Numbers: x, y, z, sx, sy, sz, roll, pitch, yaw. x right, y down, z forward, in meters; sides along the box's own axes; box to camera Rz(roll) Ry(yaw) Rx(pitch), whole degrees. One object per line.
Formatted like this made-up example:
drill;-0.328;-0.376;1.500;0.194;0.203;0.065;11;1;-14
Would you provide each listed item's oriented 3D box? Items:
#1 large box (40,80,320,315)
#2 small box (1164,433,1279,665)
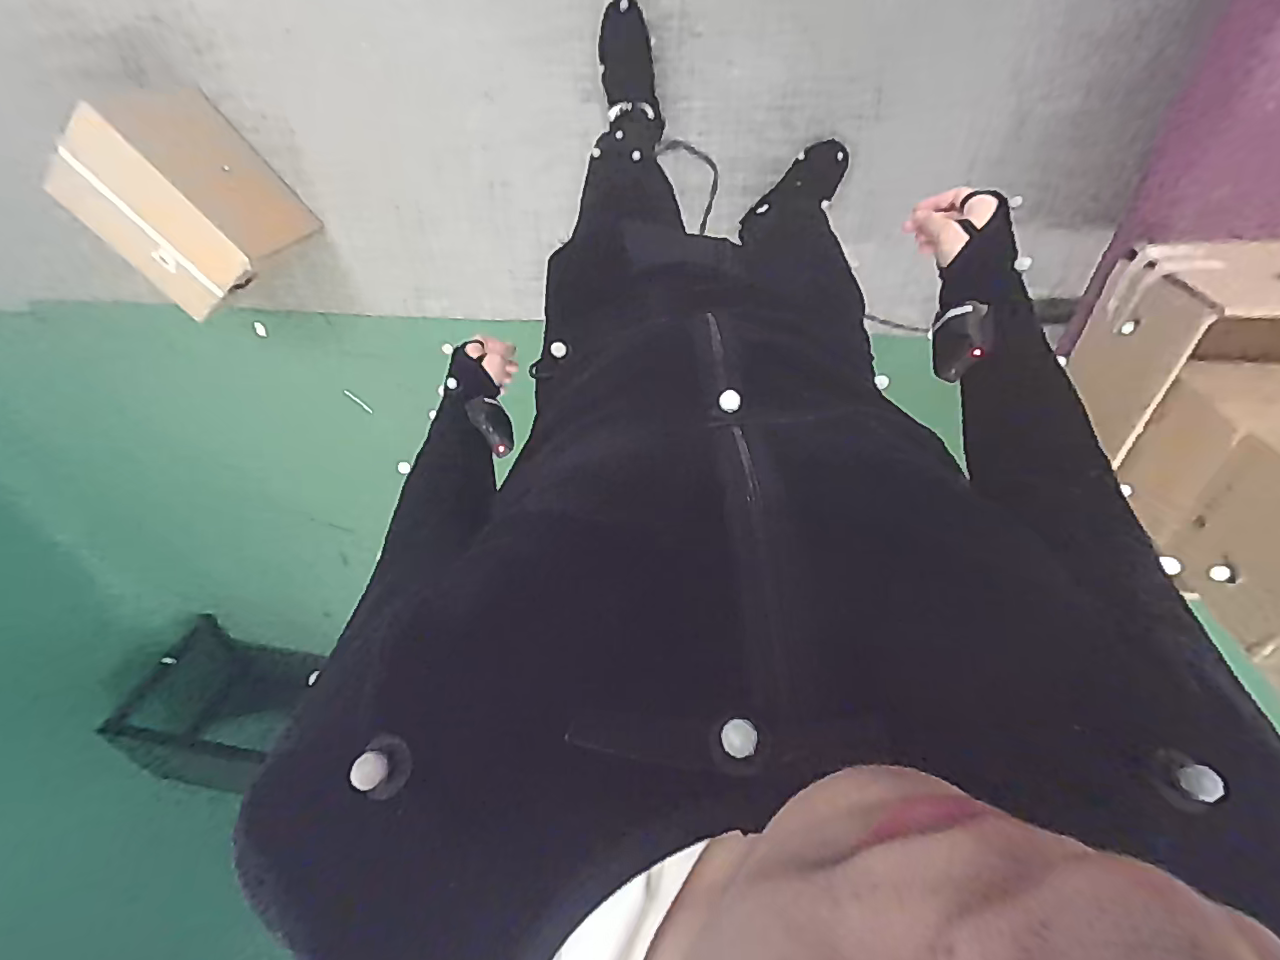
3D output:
large box;-1.162;-0.726;1.406;0.320;0.320;0.408;-23;123;29
small box;0.680;0.069;0.518;0.179;0.176;0.168;5;129;8
